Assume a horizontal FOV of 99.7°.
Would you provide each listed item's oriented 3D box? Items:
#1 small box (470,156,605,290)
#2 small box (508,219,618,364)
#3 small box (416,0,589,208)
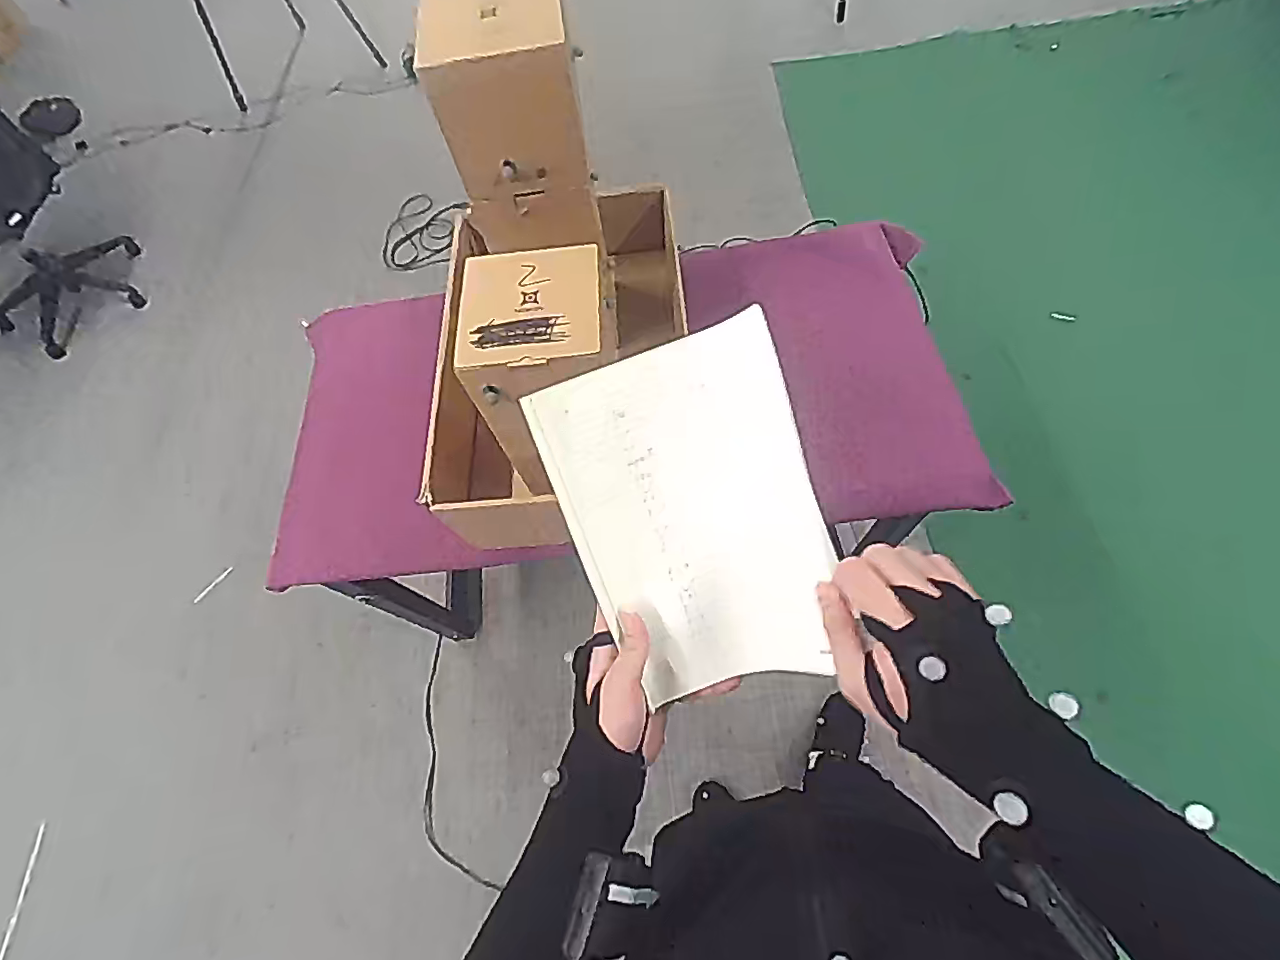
[{"bbox_3d":[-0.151,-0.415,0.835,0.168,0.176,0.179,-8,64,1],"label":"small box"},{"bbox_3d":[-0.135,-0.338,0.979,0.168,0.176,0.179,-8,65,2],"label":"small box"},{"bbox_3d":[-0.163,-0.483,0.688,0.168,0.176,0.179,-8,65,2],"label":"small box"}]
